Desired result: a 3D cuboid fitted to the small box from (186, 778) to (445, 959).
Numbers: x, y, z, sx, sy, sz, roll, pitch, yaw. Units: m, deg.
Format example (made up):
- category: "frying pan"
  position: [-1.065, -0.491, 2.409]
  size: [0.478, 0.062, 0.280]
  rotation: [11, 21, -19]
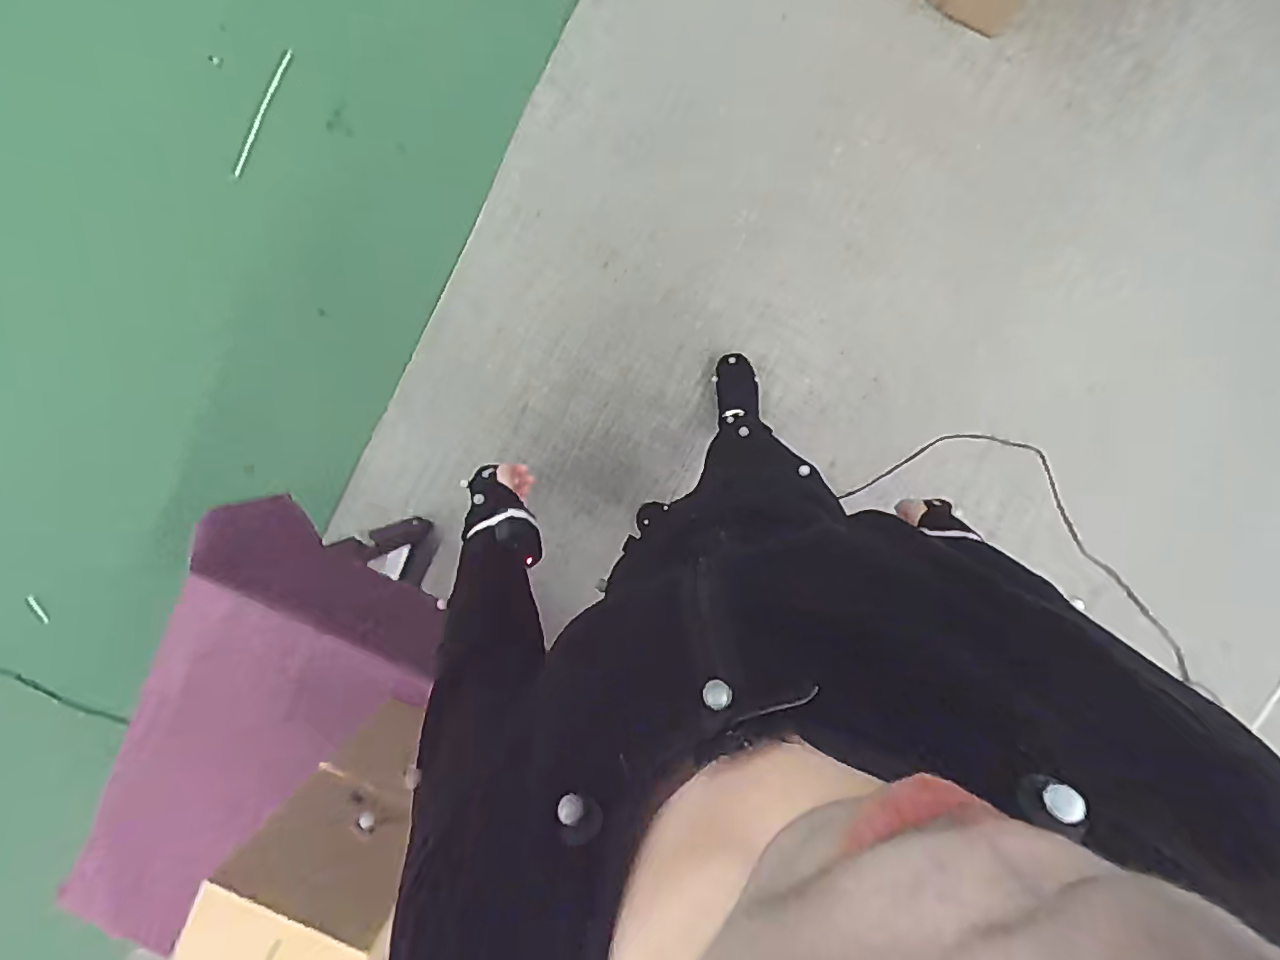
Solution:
- category: "small box"
  position: [-0.333, 0.464, 0.568]
  size: [0.168, 0.176, 0.179]
  rotation: [23, 95, 0]
